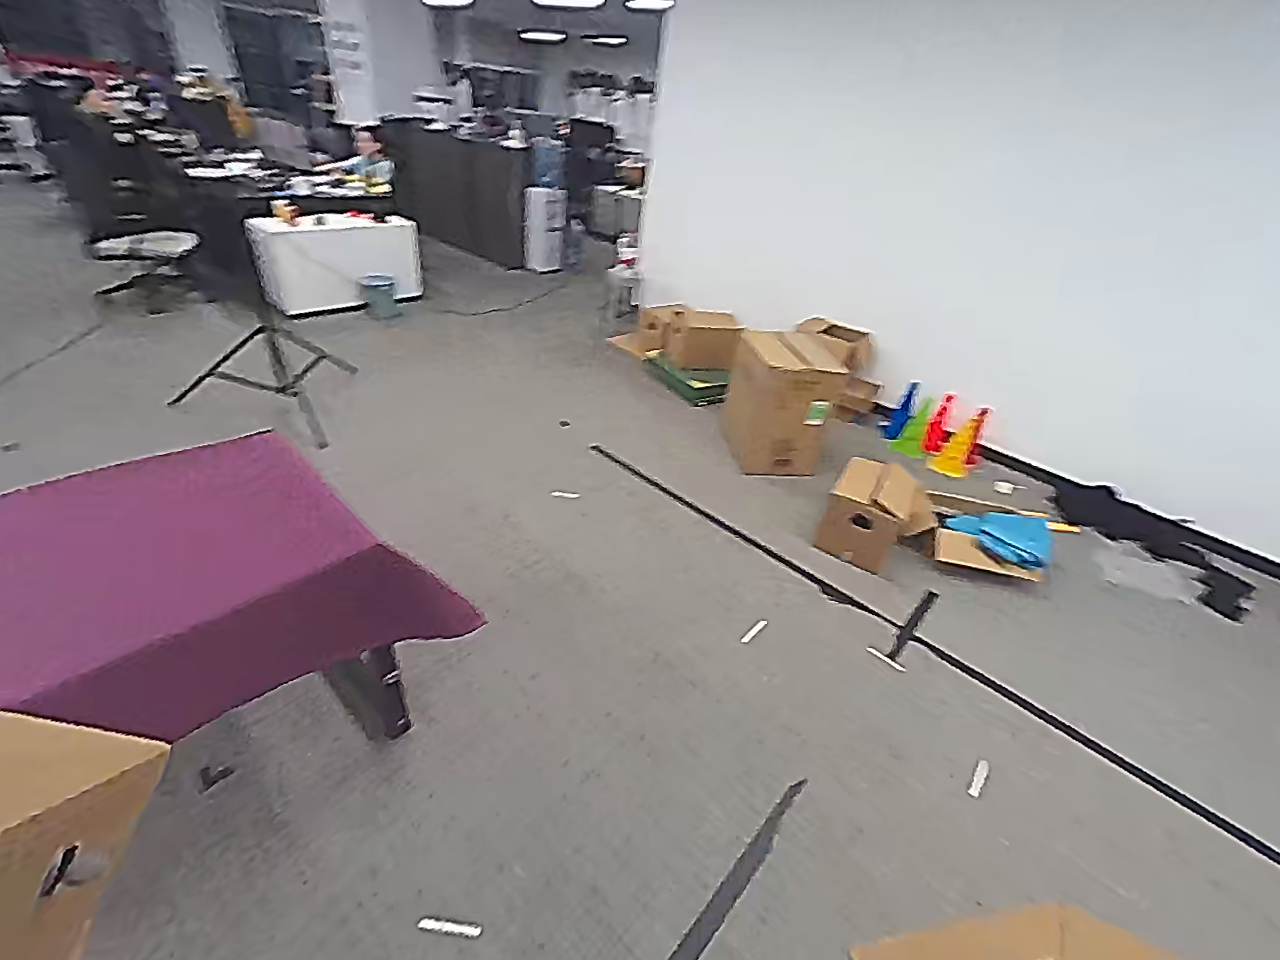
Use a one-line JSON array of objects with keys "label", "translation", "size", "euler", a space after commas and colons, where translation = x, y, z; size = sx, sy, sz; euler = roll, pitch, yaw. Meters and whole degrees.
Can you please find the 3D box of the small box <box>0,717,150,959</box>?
[{"label": "small box", "translation": [-0.366, 0.192, 0.219], "size": [0.168, 0.179, 0.176], "euler": [21, 68, -16]}]
